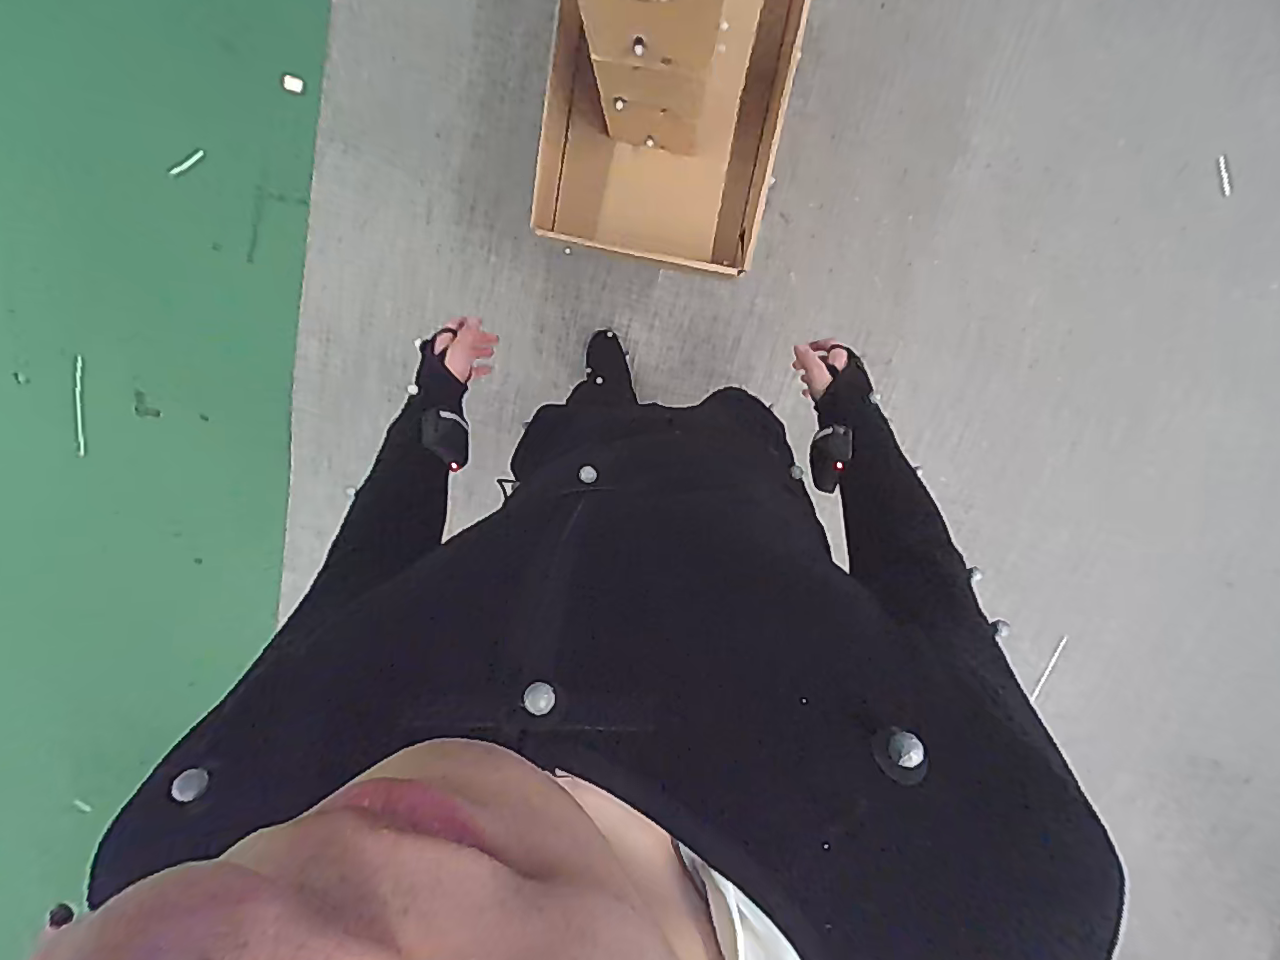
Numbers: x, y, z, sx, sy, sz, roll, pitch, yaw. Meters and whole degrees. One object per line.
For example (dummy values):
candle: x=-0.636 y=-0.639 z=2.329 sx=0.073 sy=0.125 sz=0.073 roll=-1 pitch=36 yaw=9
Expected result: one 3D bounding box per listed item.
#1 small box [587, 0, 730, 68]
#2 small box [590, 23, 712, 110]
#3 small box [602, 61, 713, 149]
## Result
small box: x=0.028 y=-0.615 z=0.610 sx=0.168 sy=0.176 sz=0.179 roll=9 pitch=106 yaw=-1
small box: x=0.030 y=-0.661 z=0.766 sx=0.168 sy=0.176 sz=0.179 roll=9 pitch=104 yaw=-1
small box: x=0.037 y=-0.702 z=0.924 sx=0.168 sy=0.176 sz=0.179 roll=11 pitch=105 yaw=0
